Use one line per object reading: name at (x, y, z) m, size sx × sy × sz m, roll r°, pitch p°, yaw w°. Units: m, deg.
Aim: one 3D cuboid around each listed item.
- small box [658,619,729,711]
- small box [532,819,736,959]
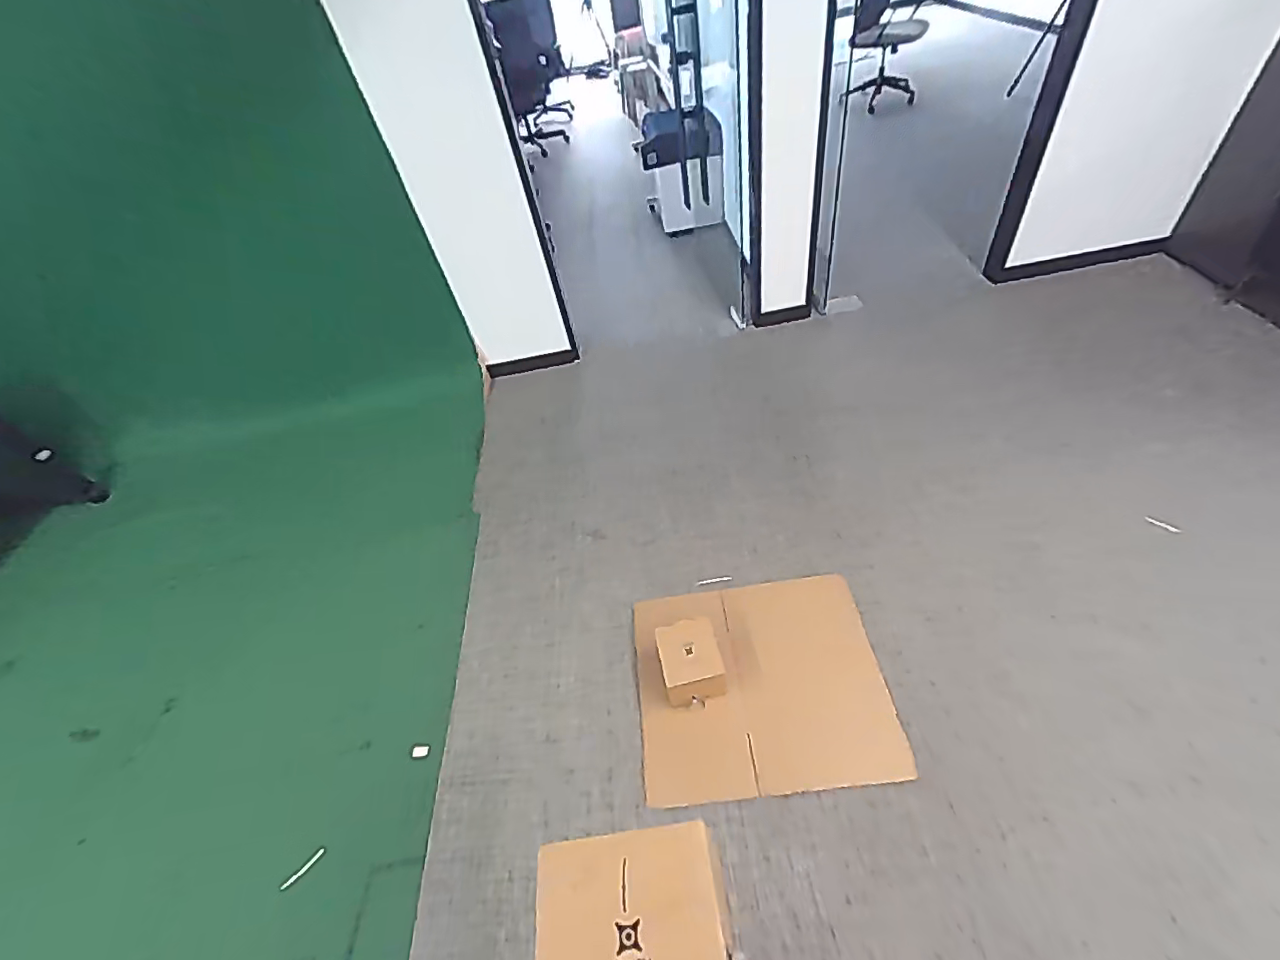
small box at (0.153, 0.529, 1.541) m, size 0.168 × 0.176 × 0.179 m, roll -14°, pitch 47°, yaw 0°
small box at (0.003, 0.451, 0.510) m, size 0.168 × 0.176 × 0.179 m, roll -12°, pitch 43°, yaw 3°
